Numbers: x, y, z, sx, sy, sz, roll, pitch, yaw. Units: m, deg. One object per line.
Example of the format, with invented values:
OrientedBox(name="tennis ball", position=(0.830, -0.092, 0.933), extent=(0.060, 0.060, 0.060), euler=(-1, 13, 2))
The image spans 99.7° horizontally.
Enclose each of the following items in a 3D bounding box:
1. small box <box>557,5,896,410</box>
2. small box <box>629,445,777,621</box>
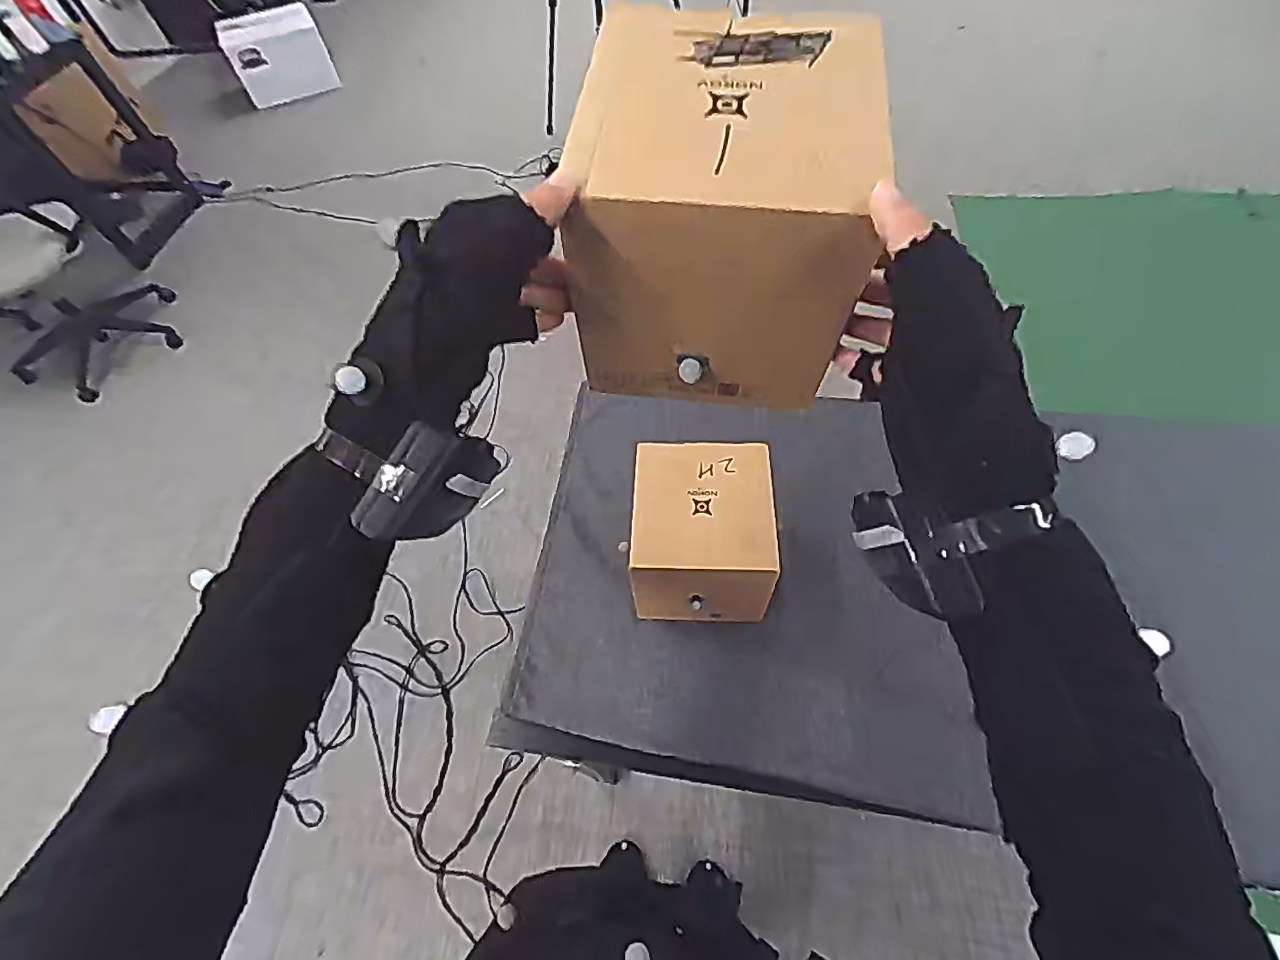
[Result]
OrientedBox(name="small box", position=(0.052, -0.172, 0.365), extent=(0.168, 0.176, 0.179), euler=(6, 65, 5))
OrientedBox(name="small box", position=(0.079, 0.073, 0.701), extent=(0.168, 0.176, 0.179), euler=(1, 56, 4))
